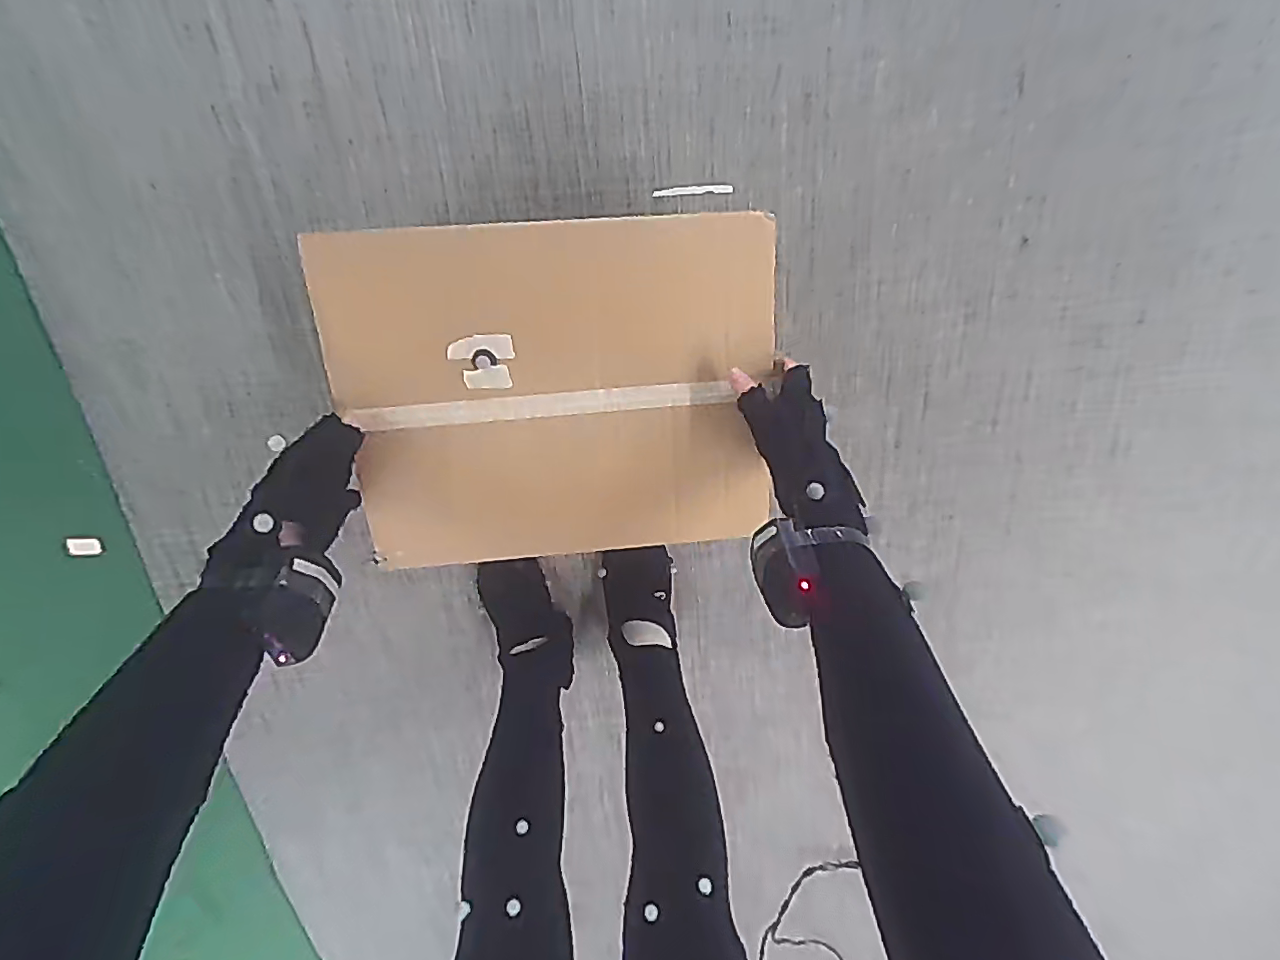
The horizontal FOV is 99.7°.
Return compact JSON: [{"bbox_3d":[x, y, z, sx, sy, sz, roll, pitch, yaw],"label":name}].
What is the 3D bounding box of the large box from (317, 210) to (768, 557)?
[{"bbox_3d":[-0.083,-0.129,0.662,0.408,0.320,0.320,-4,109,-4],"label":"large box"}]
